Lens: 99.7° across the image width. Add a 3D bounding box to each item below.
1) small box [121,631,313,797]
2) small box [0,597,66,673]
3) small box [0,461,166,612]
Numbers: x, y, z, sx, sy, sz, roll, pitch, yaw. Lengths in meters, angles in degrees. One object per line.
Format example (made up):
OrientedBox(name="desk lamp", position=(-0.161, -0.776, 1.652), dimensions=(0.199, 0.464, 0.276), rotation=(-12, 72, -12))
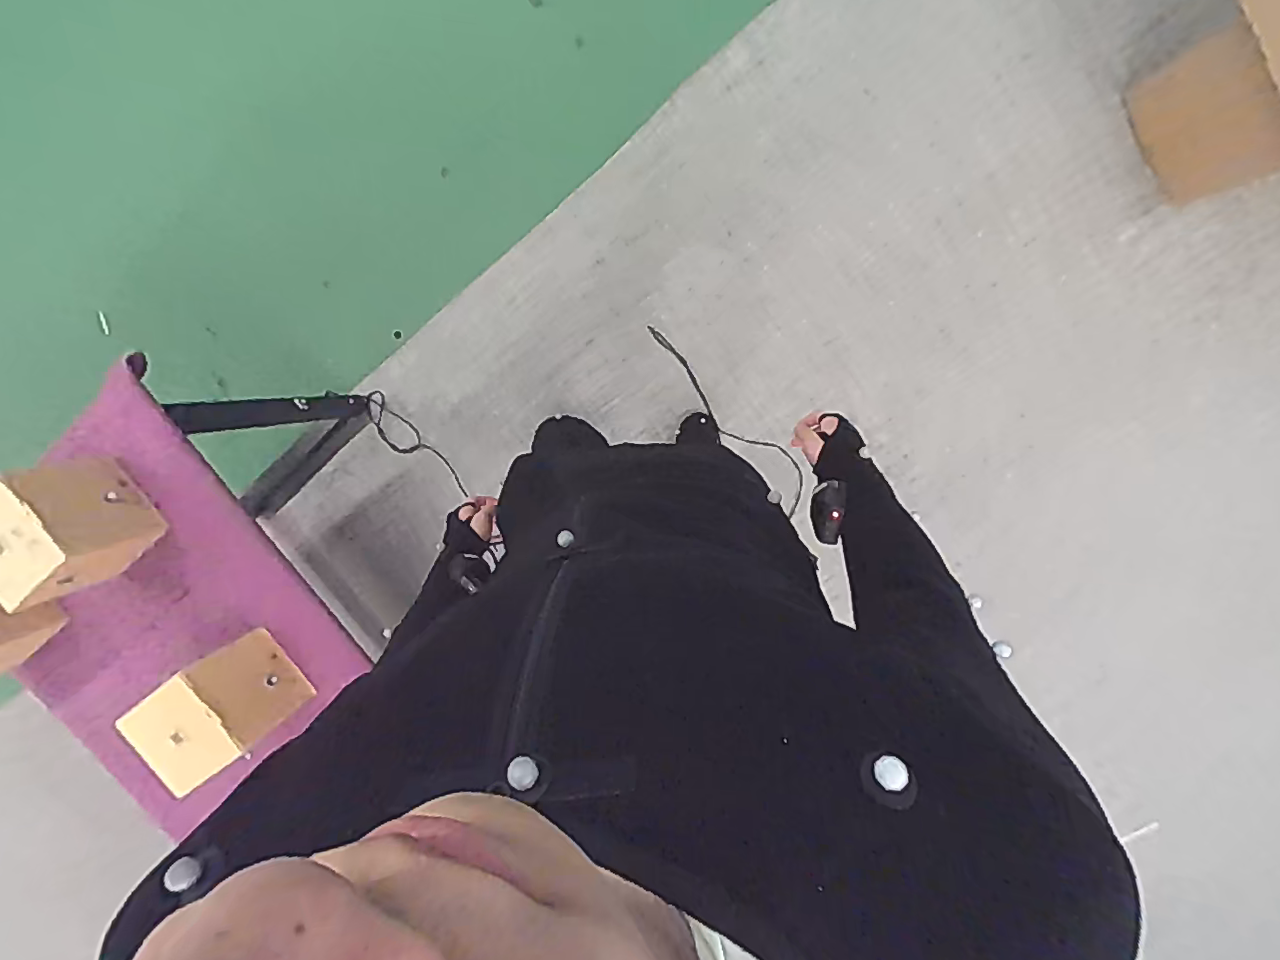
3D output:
OrientedBox(name="small box", position=(-0.733, 0.404, 0.956), dimensions=(0.179, 0.176, 0.168), rotation=(-36, 94, 12))
OrientedBox(name="small box", position=(-1.237, 0.276, 0.990), dimensions=(0.179, 0.176, 0.168), rotation=(-37, 96, 10))
OrientedBox(name="small box", position=(-0.984, 0.088, 0.926), dimensions=(0.179, 0.176, 0.168), rotation=(-35, 96, 13))
